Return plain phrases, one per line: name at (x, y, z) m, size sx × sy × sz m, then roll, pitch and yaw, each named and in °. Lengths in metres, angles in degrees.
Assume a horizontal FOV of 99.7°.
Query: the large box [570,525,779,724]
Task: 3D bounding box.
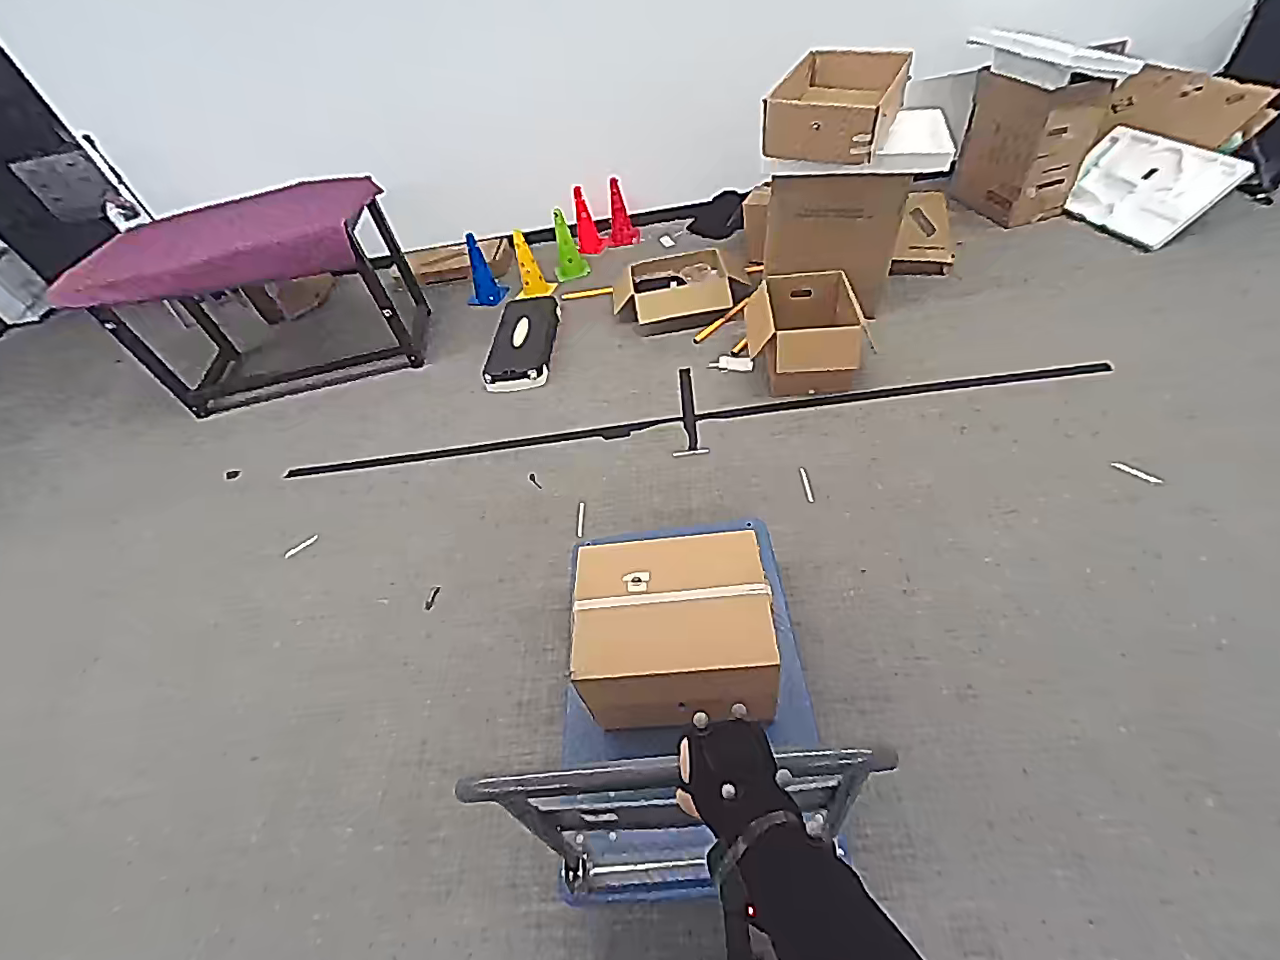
large box at (0.082, 0.336, 1.227) m, size 0.408 × 0.320 × 0.320 m, roll -8°, pitch 47°, yaw 6°
